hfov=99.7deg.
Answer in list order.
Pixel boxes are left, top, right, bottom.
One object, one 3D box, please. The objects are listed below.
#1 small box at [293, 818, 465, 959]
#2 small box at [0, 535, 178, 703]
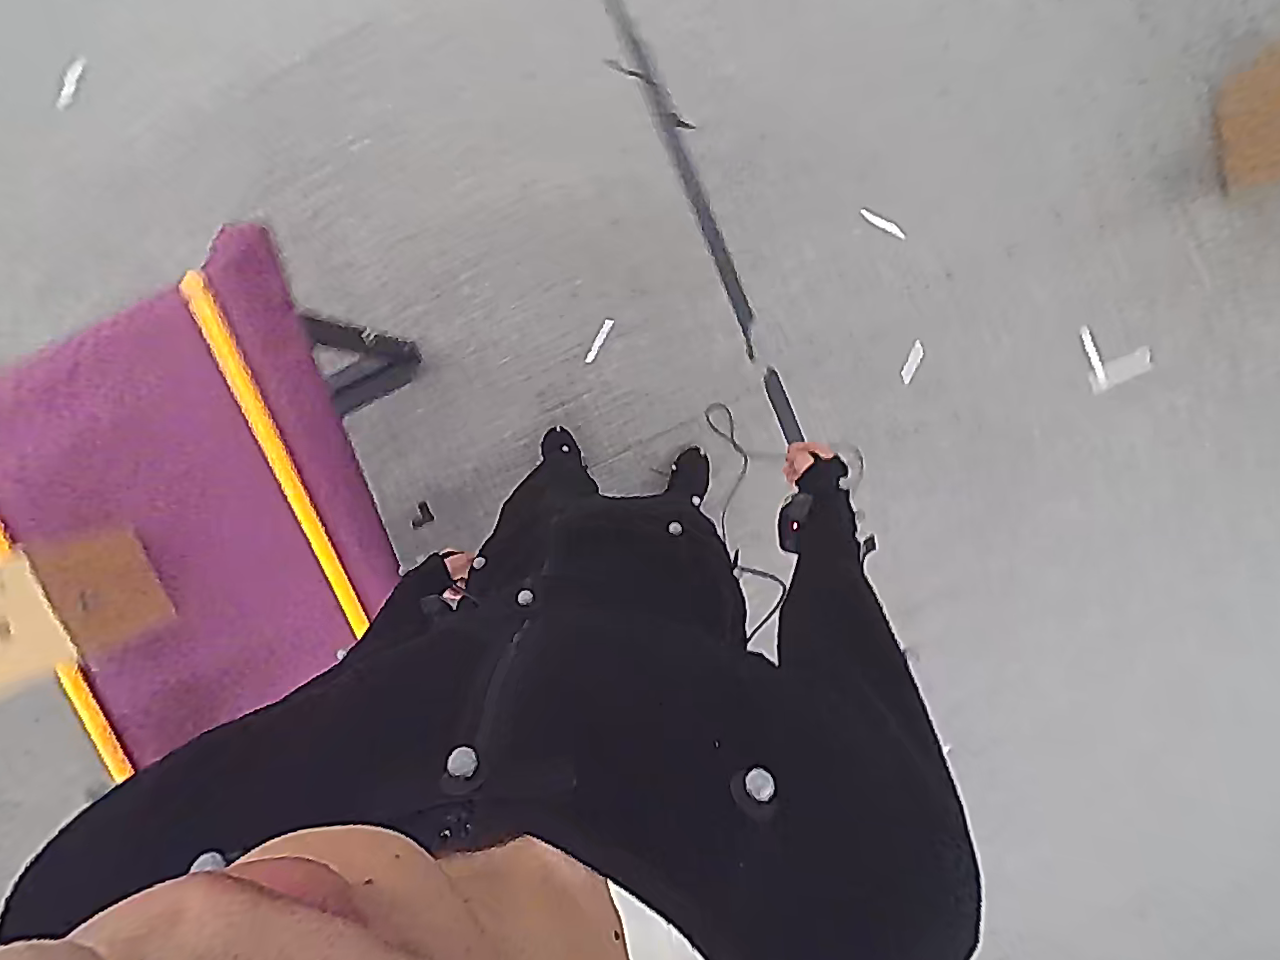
[{"bbox_3d":[-0.418,0.700,0.895,0.168,0.176,0.179,-20,95,4],"label":"small box"},{"bbox_3d":[-0.899,0.208,0.854,0.168,0.176,0.179,-24,95,3],"label":"small box"}]
